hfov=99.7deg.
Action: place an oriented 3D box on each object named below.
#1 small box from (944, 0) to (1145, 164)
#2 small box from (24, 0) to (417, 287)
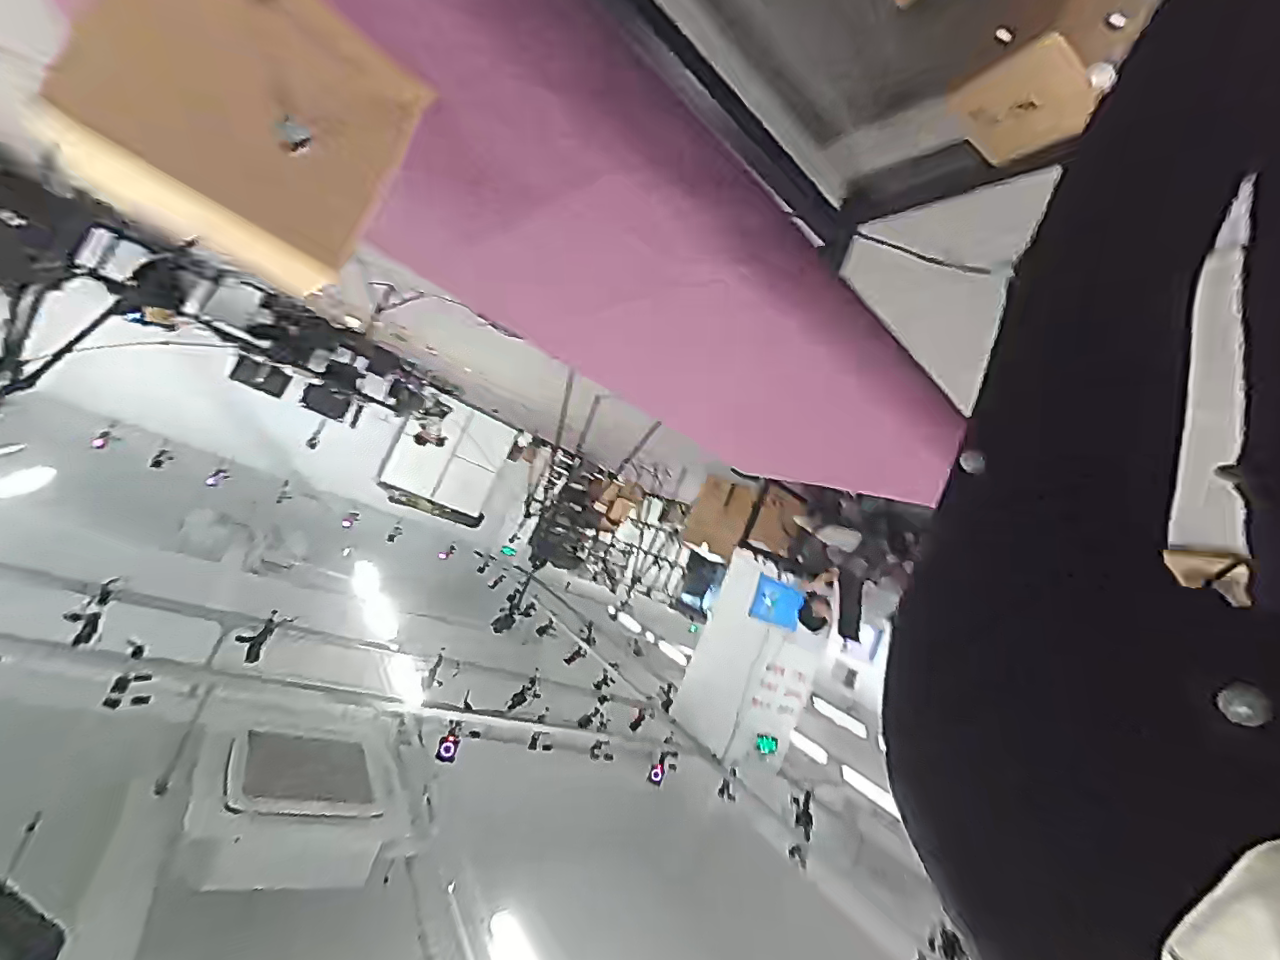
[{"bbox_3d":[0.604,-0.629,0.806,0.168,0.176,0.179,26,174,-24],"label":"small box"},{"bbox_3d":[-0.295,-0.272,0.409,0.168,0.176,0.179,27,175,-39],"label":"small box"}]
